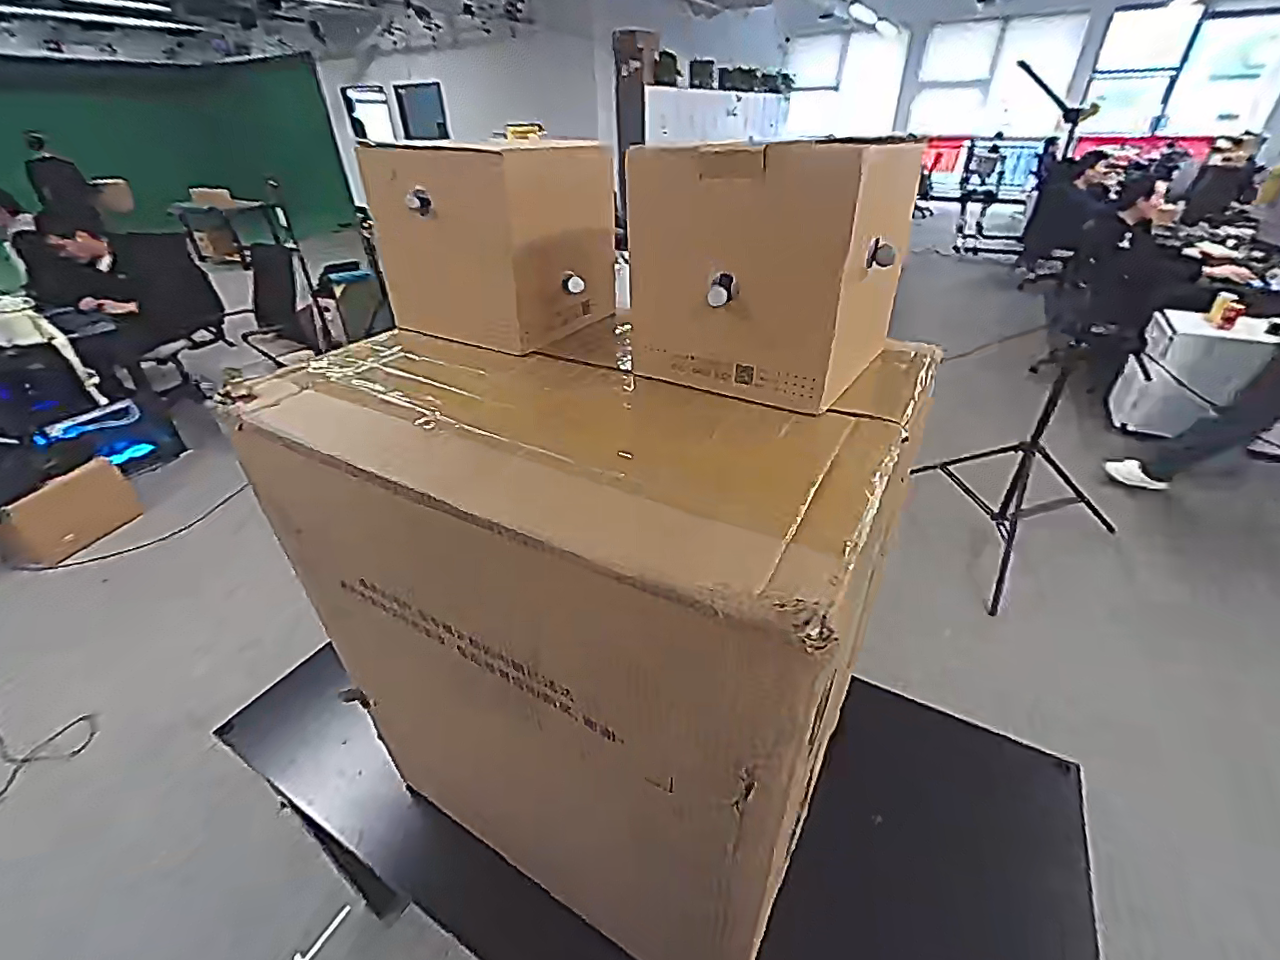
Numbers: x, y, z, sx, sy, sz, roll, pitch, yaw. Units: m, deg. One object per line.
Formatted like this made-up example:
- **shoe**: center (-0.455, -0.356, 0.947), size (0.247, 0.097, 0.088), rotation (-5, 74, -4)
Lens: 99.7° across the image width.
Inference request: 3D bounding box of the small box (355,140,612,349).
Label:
- **small box**: center (-0.143, -0.243, 0.548), size (0.179, 0.176, 0.168), rotation (18, 37, 24)

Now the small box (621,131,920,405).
- **small box**: center (0.103, -0.175, 0.435), size (0.168, 0.176, 0.179), rotation (18, 37, 28)
